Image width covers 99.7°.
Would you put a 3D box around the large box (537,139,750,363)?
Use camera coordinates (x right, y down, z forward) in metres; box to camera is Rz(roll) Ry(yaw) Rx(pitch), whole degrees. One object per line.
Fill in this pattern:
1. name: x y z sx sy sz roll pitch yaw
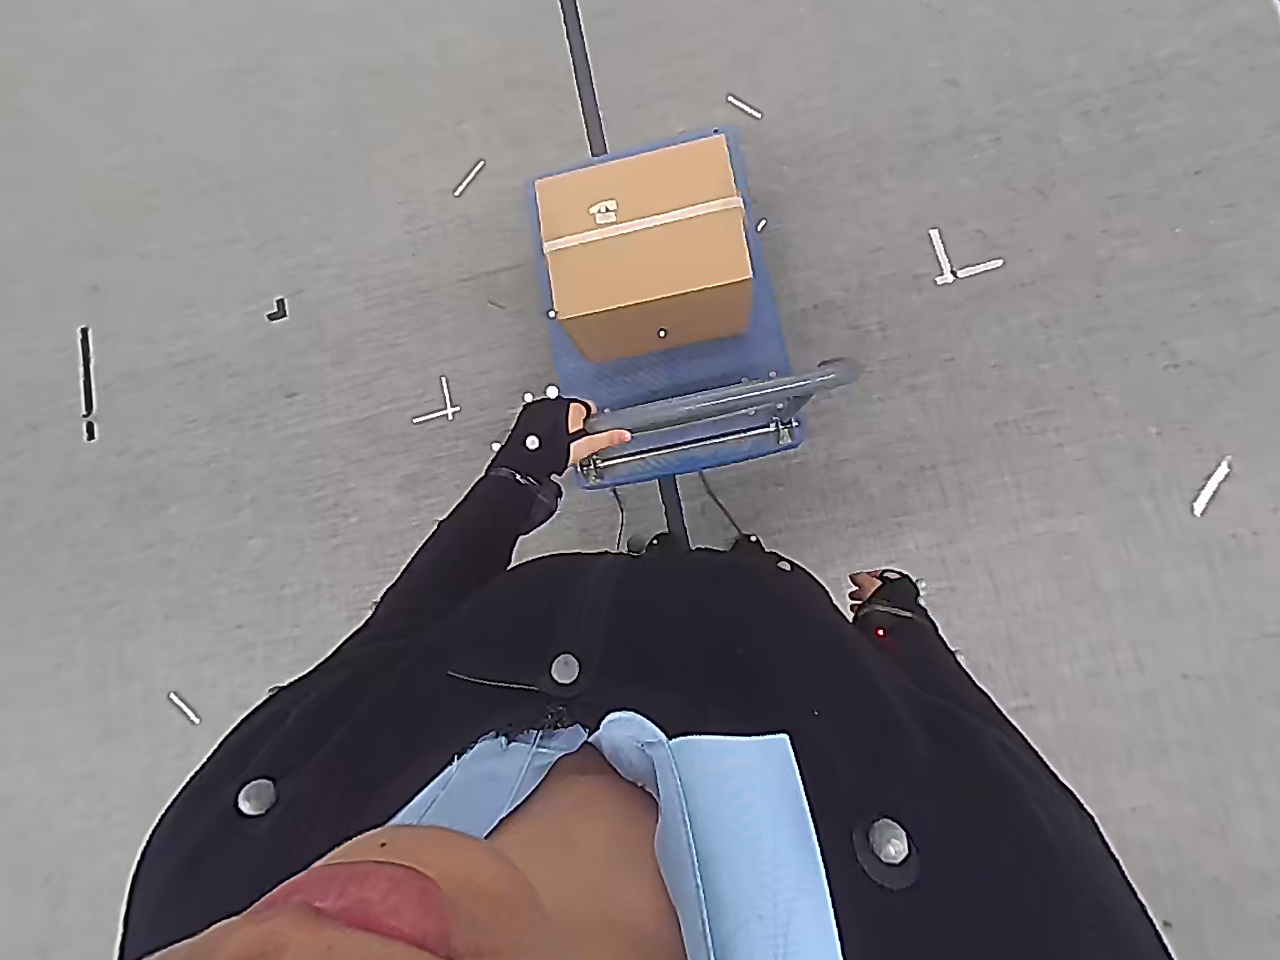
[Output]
1. large box: 0.022 -0.497 1.256 0.408 0.320 0.320 -10 82 8
